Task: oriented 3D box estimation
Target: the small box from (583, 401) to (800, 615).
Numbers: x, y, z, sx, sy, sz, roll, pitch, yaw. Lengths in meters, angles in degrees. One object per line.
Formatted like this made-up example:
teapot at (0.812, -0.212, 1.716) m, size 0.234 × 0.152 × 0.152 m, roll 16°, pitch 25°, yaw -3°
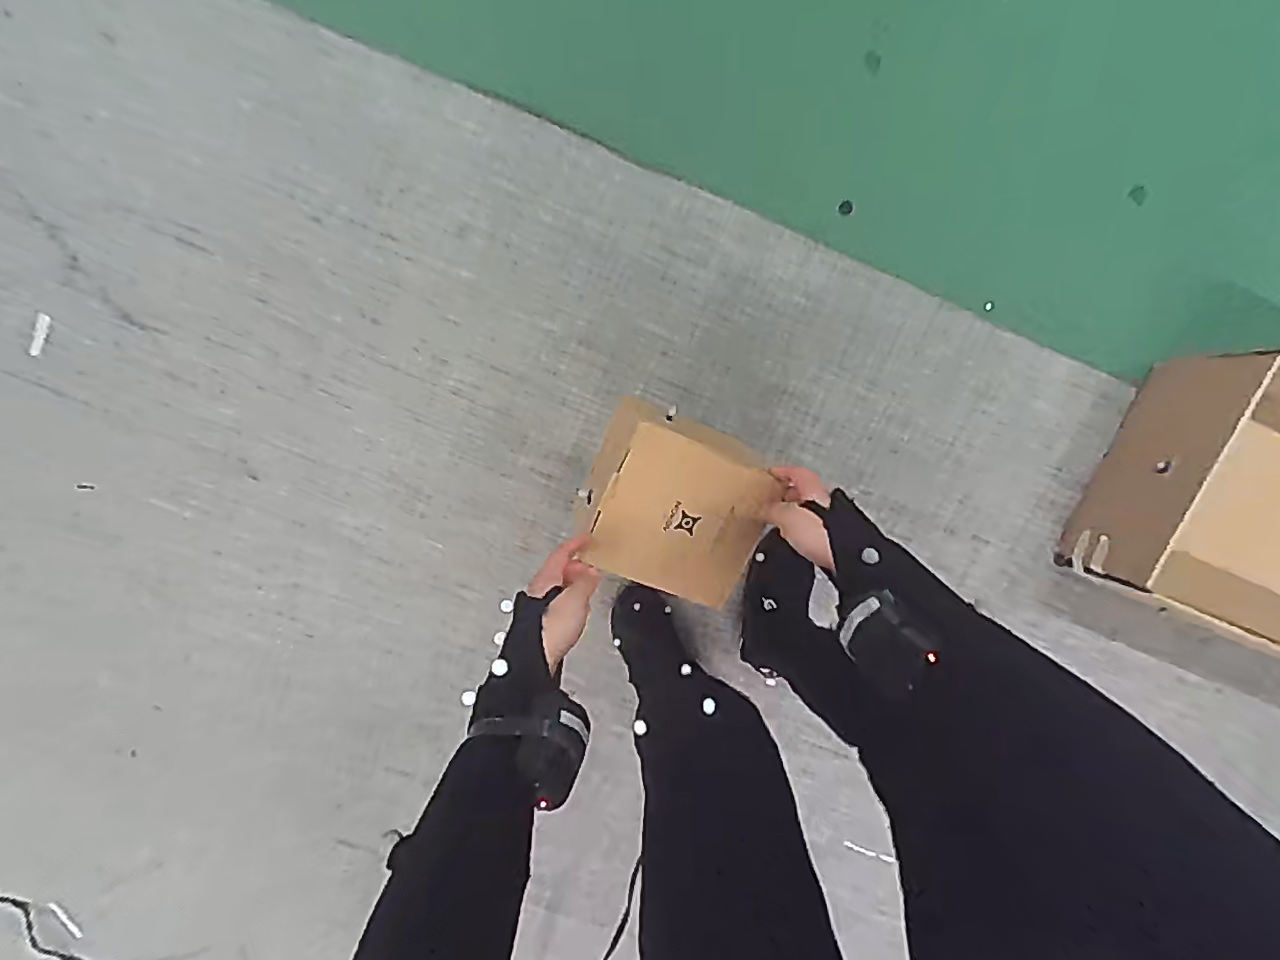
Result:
small box at (0.041, 0.021, 0.621) m, size 0.179 × 0.176 × 0.168 m, roll 21°, pitch 106°, yaw -15°
